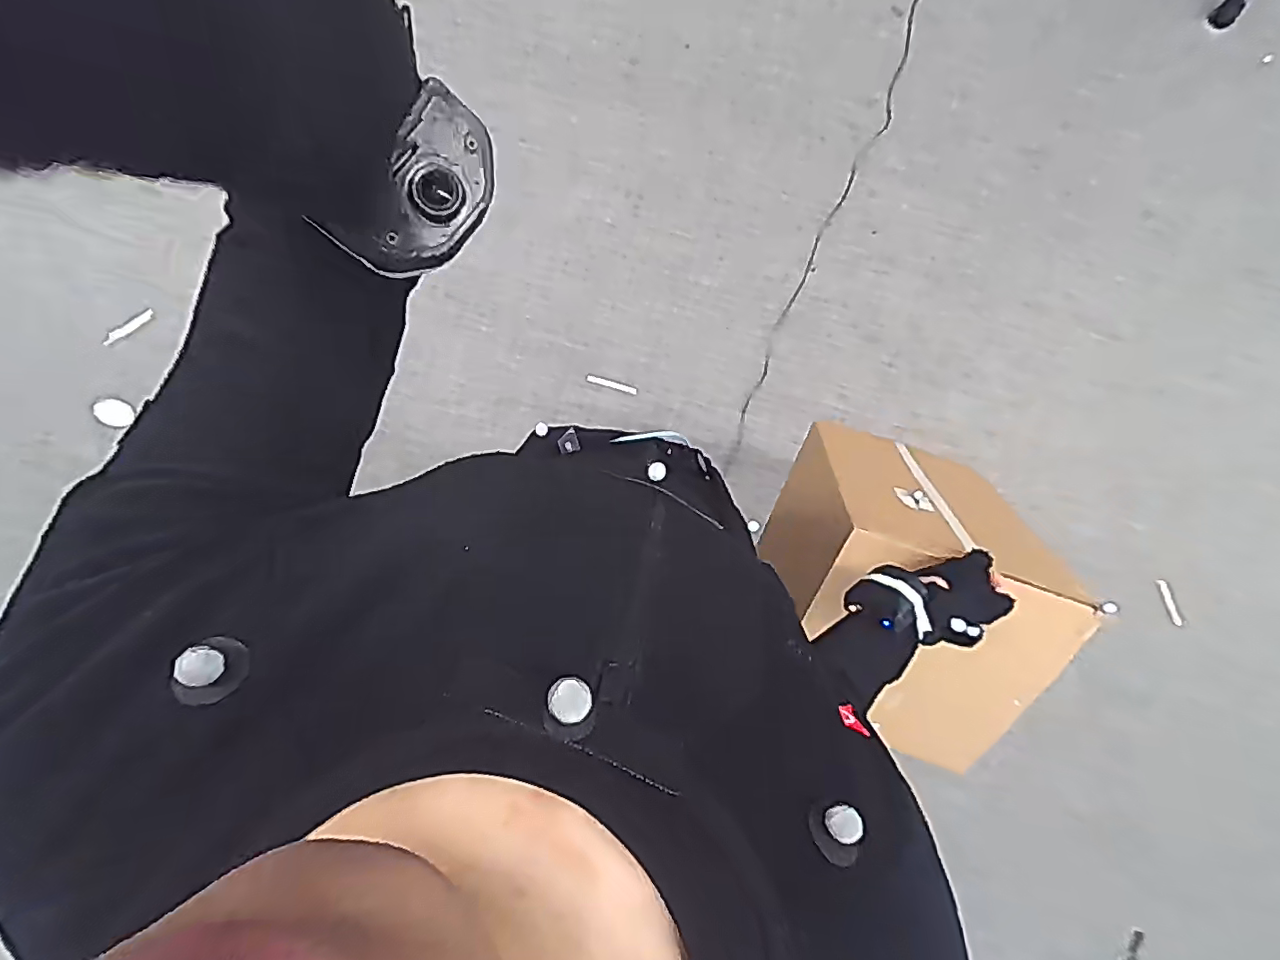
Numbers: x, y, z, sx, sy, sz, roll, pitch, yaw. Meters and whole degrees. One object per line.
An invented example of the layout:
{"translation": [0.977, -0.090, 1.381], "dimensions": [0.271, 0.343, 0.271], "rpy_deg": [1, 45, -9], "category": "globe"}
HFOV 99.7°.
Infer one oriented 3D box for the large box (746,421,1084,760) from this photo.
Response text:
{"translation": [0.376, 0.151, 0.889], "dimensions": [0.320, 0.408, 0.320], "rpy_deg": [18, 118, 1], "category": "large box"}
